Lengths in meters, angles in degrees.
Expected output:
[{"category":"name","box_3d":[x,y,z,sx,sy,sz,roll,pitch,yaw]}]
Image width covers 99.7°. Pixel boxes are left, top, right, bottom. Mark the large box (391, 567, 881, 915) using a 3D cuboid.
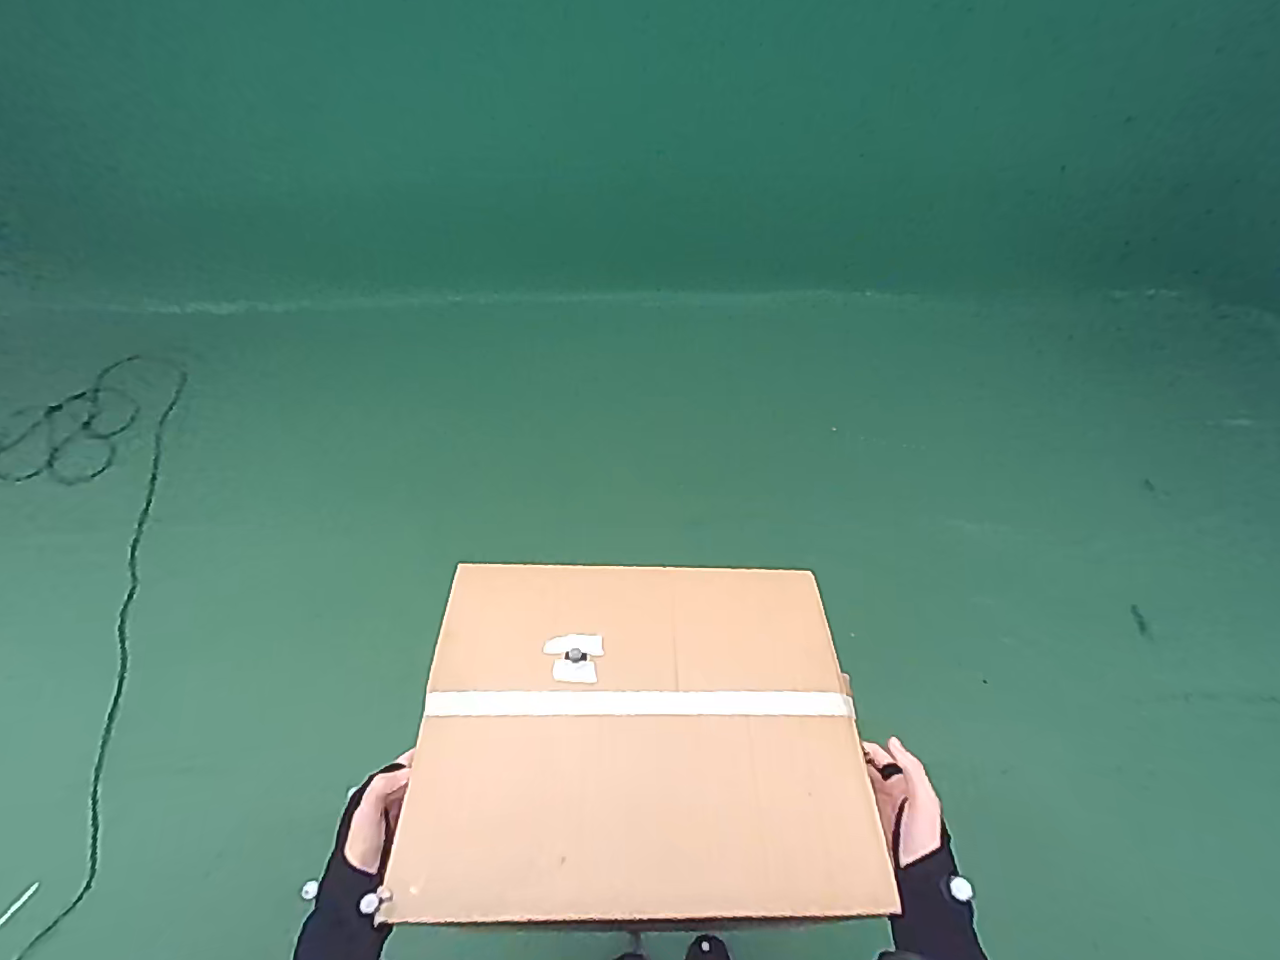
[{"category":"large box","box_3d":[-0.006,0.315,0.640,0.408,0.320,0.320,2,49,-2]}]
